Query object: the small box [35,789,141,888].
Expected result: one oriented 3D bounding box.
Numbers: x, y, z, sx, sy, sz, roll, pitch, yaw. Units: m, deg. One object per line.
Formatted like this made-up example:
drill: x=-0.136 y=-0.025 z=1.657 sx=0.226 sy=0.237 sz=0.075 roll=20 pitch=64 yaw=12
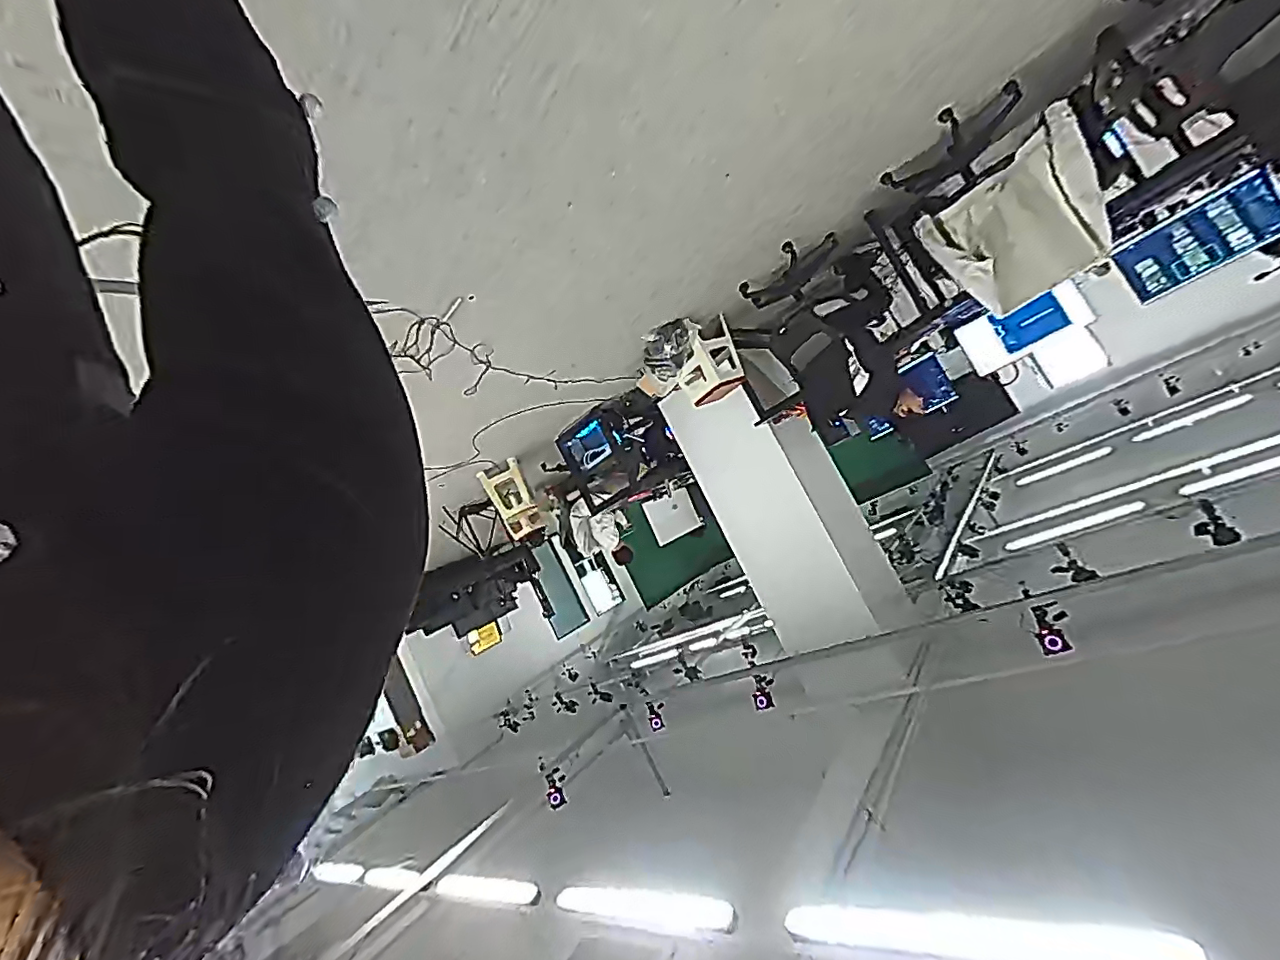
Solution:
small box: x=-1.527 y=0.984 z=1.494 sx=0.179 sy=0.176 sz=0.168 roll=-32 pitch=172 yaw=36
